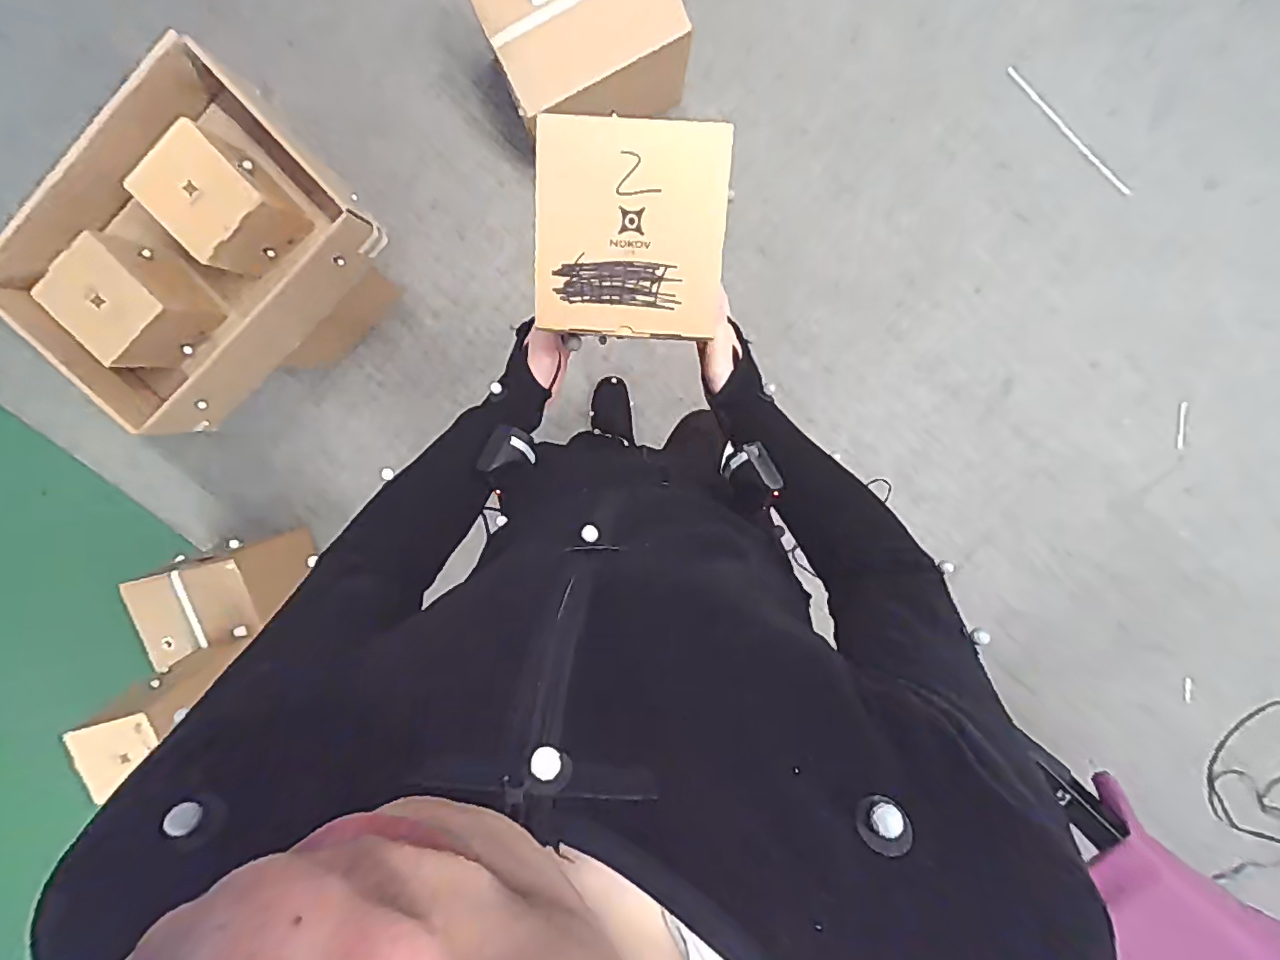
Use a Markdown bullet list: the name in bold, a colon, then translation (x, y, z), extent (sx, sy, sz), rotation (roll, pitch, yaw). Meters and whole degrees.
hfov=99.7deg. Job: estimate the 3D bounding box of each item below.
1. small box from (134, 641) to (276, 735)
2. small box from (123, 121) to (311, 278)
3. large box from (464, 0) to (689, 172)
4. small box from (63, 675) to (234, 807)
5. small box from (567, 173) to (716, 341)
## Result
- **small box**: translation (-1.034, 0.514, 1.301), extent (0.179, 0.176, 0.168), rotation (-15, 101, 0)
- **small box**: translation (-0.772, -0.506, 1.008), extent (0.168, 0.176, 0.179), rotation (-41, 100, 6)
- **large box**: translation (-0.137, -1.020, 1.280), extent (0.408, 0.320, 0.320), rotation (-26, 100, 5)
- **small box**: translation (-1.020, 0.541, 1.139), extent (0.179, 0.176, 0.168), rotation (-15, 100, 2)
- **small box**: translation (0.002, -0.276, 0.705), extent (0.168, 0.176, 0.179), rotation (4, 104, 0)
